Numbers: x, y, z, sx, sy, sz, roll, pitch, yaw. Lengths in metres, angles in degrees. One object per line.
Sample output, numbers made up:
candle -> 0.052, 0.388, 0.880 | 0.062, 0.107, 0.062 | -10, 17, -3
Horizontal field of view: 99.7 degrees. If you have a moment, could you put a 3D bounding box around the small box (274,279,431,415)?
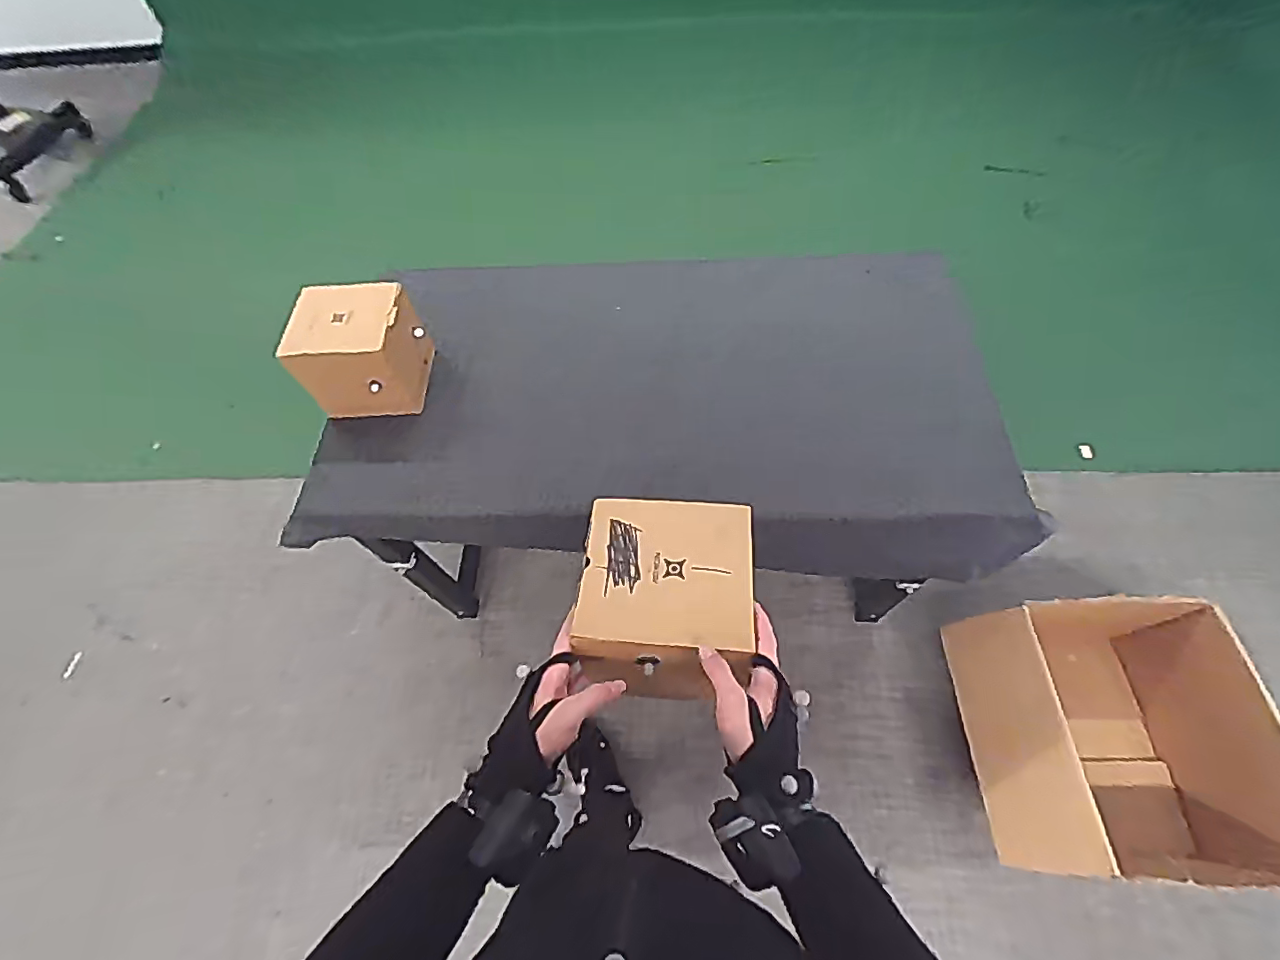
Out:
small box -> -0.494, -0.232, 0.964 | 0.179, 0.176, 0.168 | -4, 59, 2

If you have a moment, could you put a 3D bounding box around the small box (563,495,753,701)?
small box -> 0.030, 0.137, 0.610 | 0.179, 0.176, 0.168 | 5, 54, 9
